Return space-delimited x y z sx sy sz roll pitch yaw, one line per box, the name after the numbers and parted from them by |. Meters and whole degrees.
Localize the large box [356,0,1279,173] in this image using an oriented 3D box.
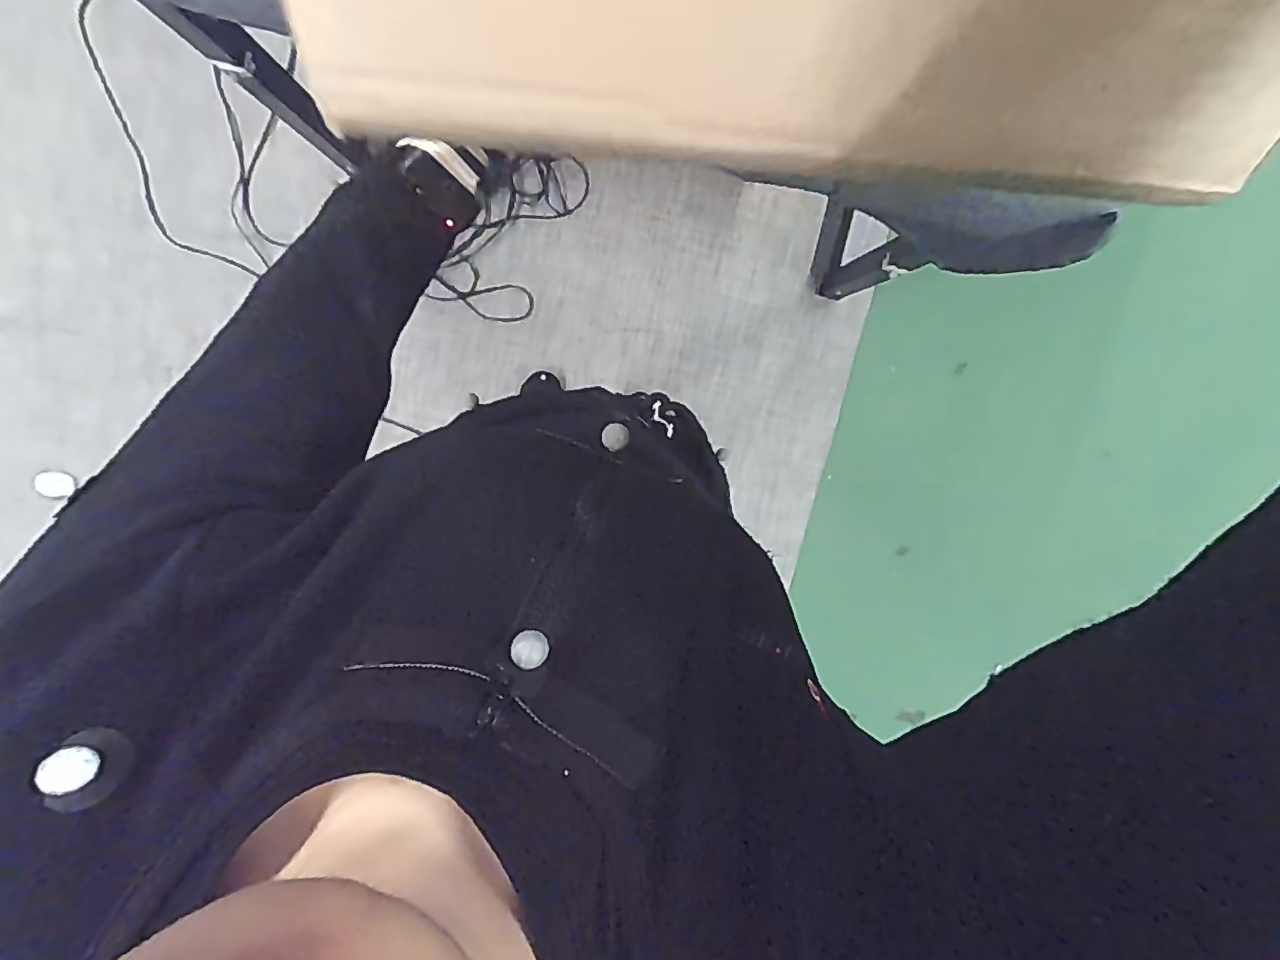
0.061 -0.361 0.221 0.320 0.408 0.320 2 135 -3 | large box
